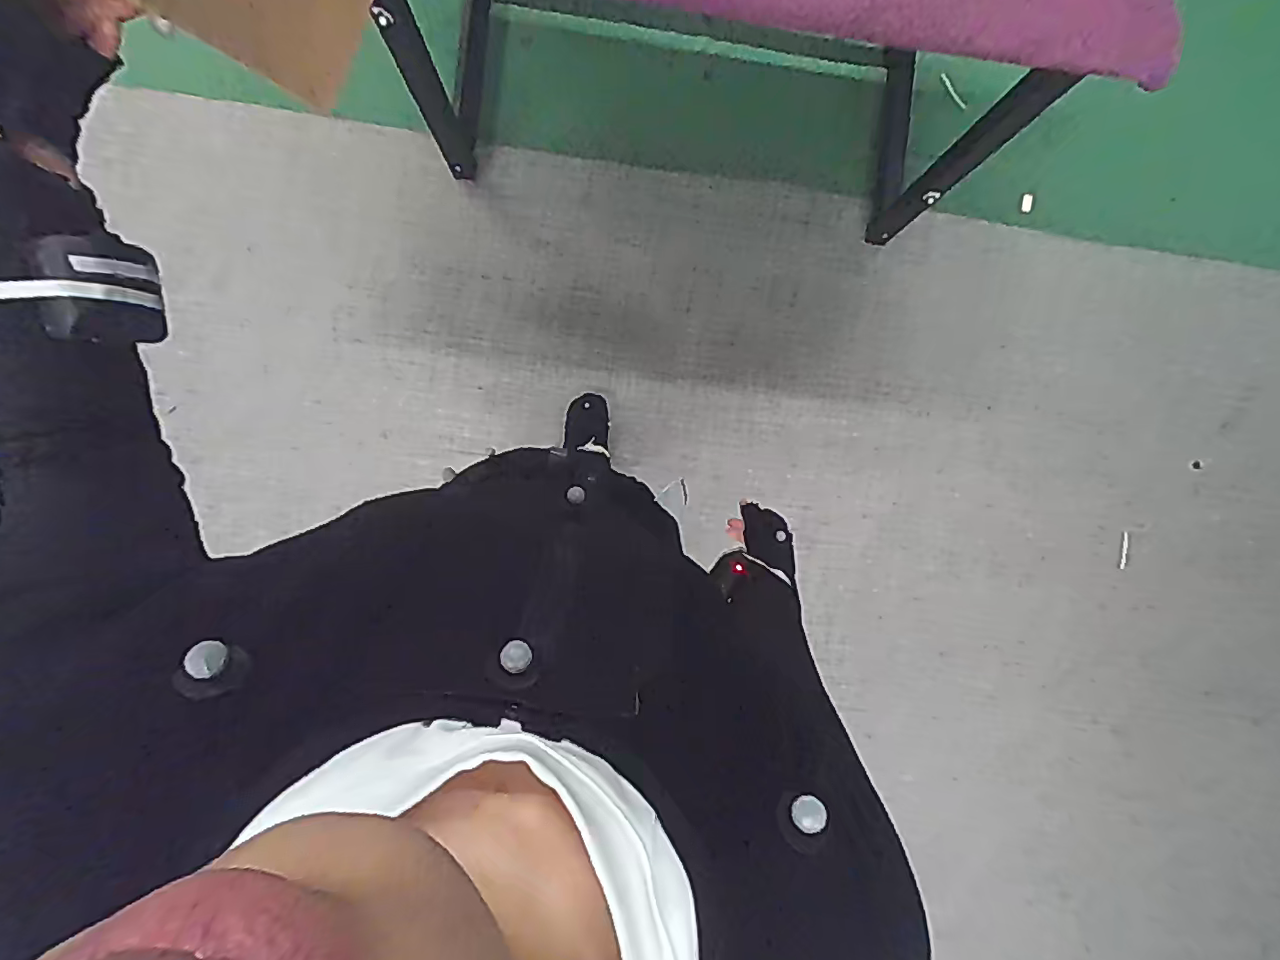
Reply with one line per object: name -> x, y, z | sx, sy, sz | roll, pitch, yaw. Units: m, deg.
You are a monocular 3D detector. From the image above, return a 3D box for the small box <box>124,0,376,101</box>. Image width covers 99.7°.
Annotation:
small box -> -0.299, -0.414, 0.372 | 0.168, 0.176, 0.179 | 36, 108, 0
